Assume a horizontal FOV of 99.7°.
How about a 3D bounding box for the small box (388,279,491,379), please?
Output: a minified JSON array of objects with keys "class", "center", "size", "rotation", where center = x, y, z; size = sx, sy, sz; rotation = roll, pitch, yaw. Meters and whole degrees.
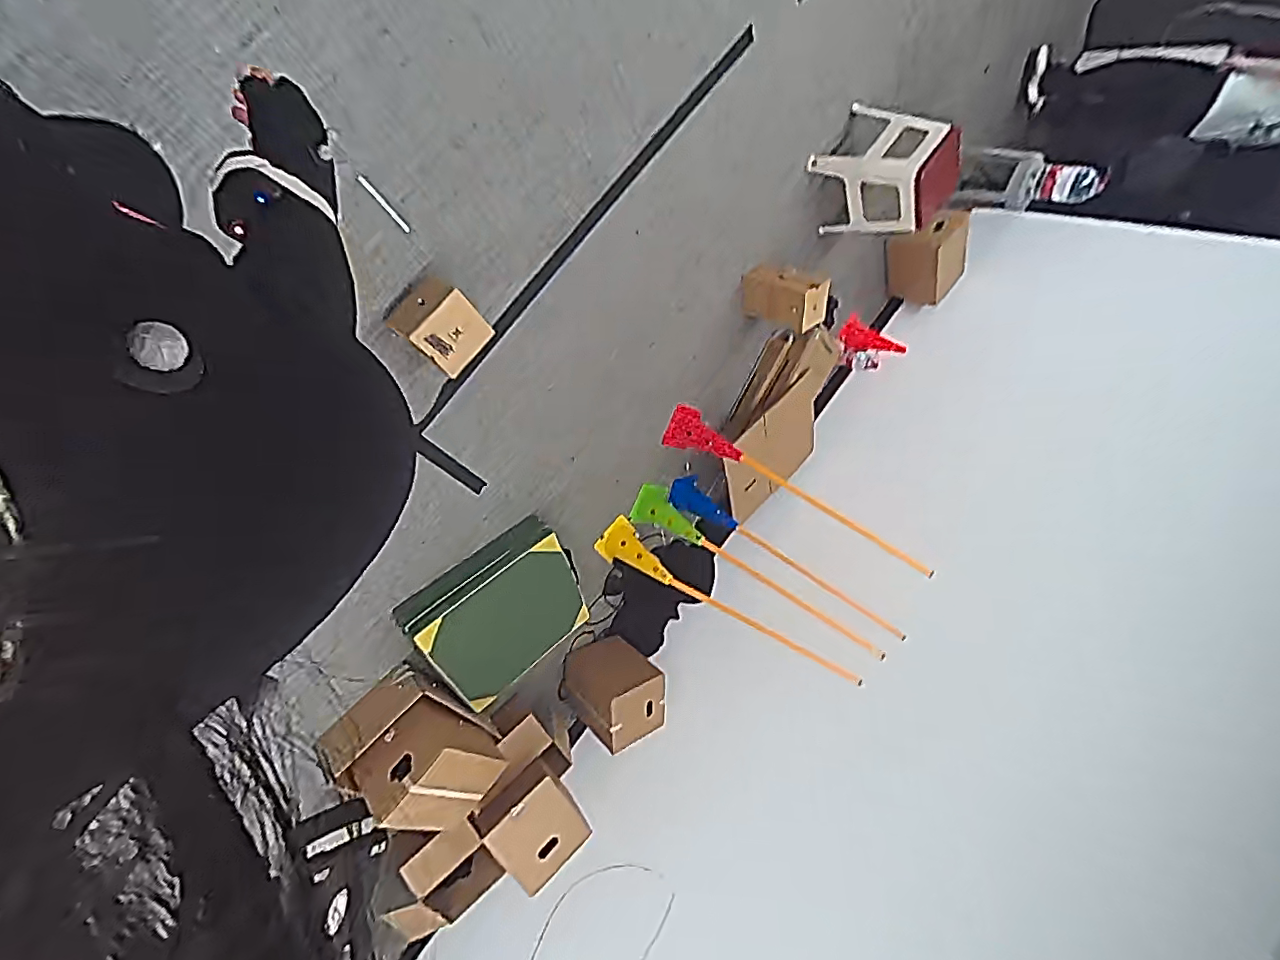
[{"class":"small box","center":[-0.543,-0.407,1.447],"size":[0.179,0.176,0.168],"rotation":[-52,143,-10]}]
